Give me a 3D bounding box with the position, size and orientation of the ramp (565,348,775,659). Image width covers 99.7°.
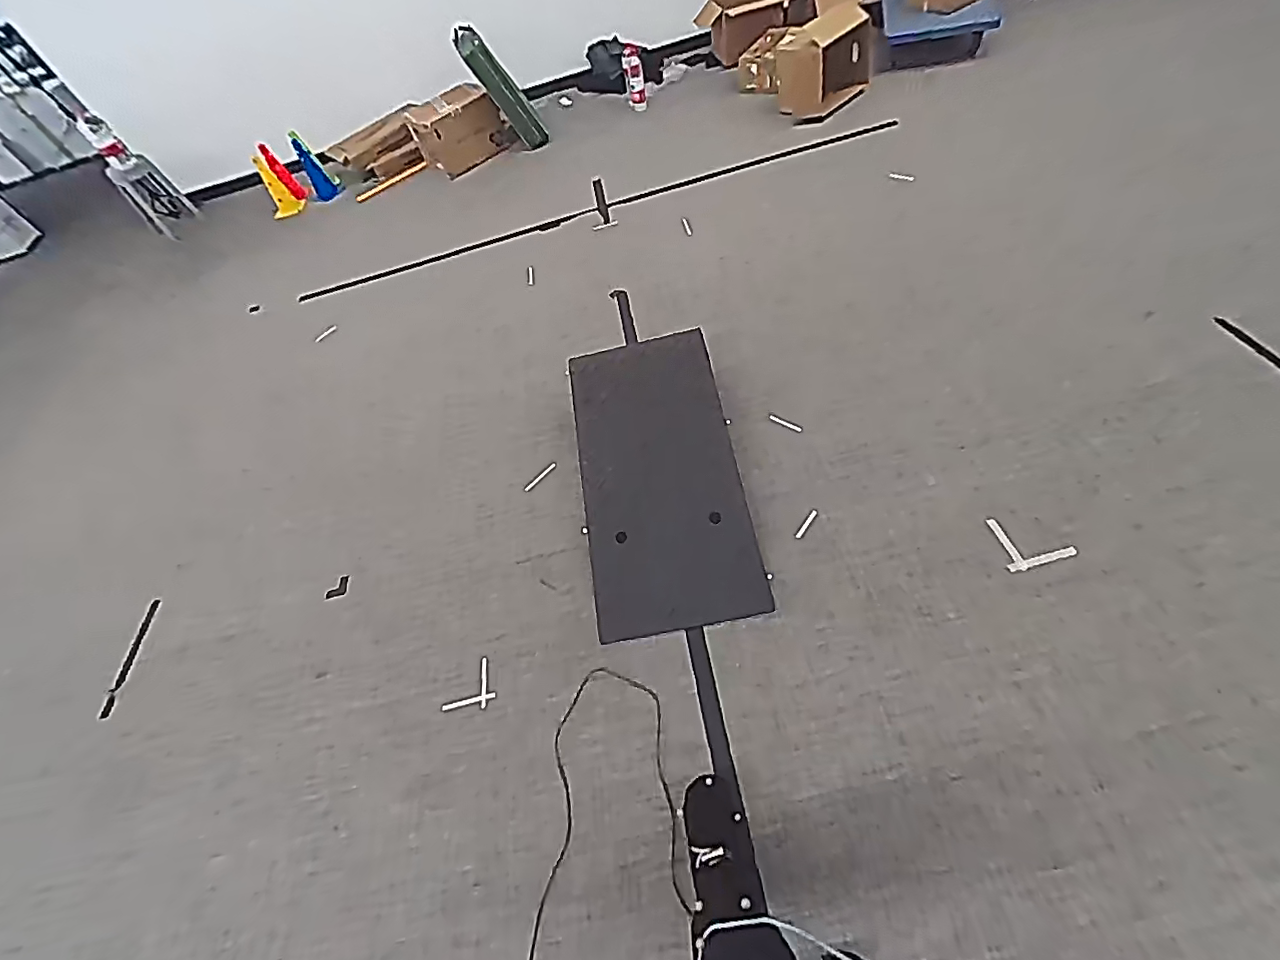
[{"bbox_3d":[0.051,0.014,1.718,0.509,0.206,0.991,-15,52,3],"label":"ramp"}]
